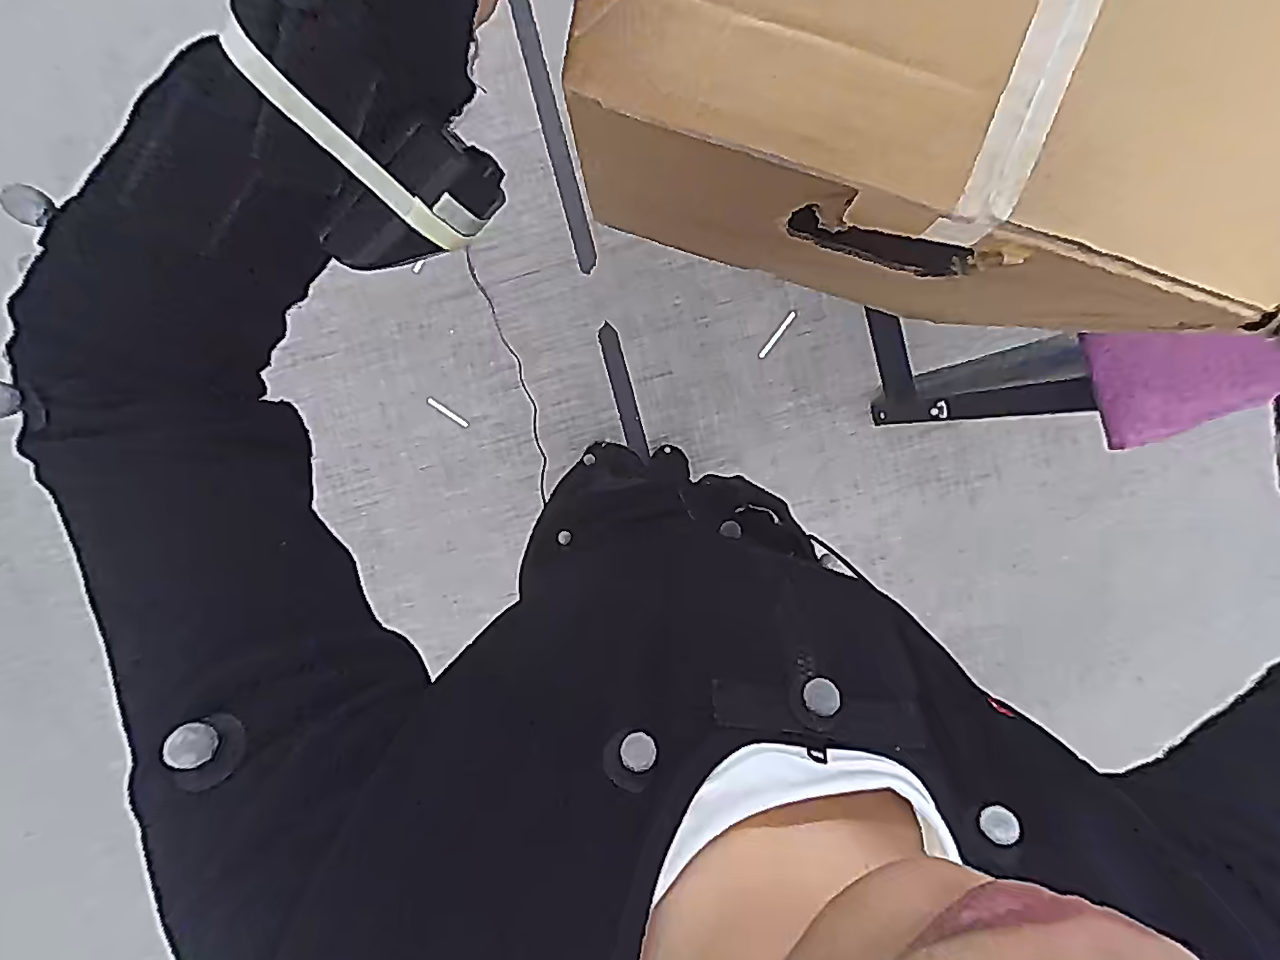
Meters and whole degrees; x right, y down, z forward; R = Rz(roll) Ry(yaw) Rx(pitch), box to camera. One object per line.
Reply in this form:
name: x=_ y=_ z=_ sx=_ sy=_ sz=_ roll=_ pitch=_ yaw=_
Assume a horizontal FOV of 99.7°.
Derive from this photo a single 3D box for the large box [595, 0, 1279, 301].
large box: x=0.169 y=-0.337 z=0.286 sx=0.320 sy=0.320 sz=0.408 roll=13 pitch=107 yaw=-6
